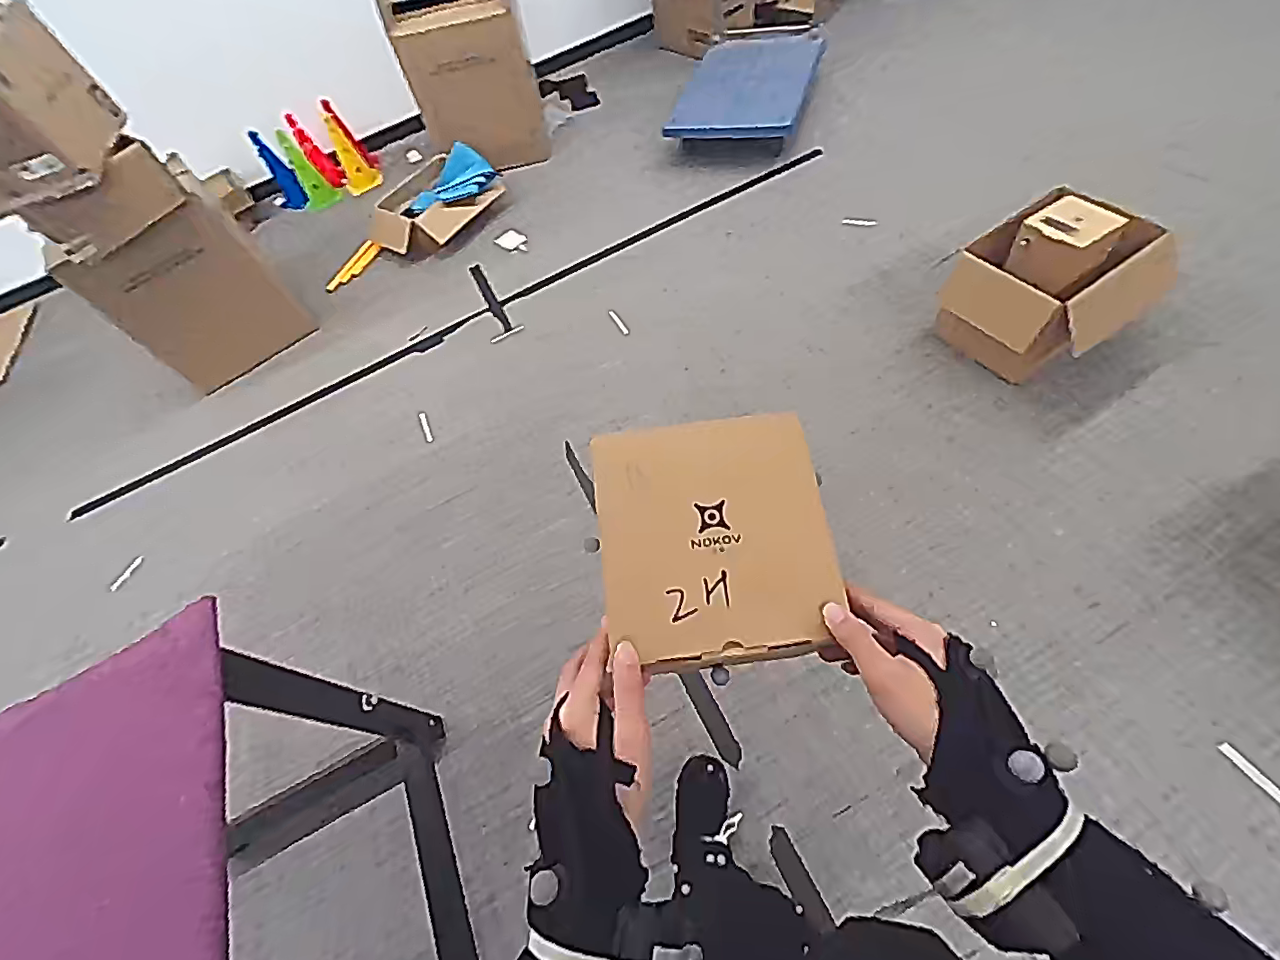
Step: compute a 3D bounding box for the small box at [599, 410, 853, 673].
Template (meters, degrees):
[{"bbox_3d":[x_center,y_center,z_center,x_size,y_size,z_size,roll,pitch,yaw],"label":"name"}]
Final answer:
[{"bbox_3d":[0.058,0.062,0.468,0.168,0.176,0.179,-7,67,0],"label":"small box"}]
